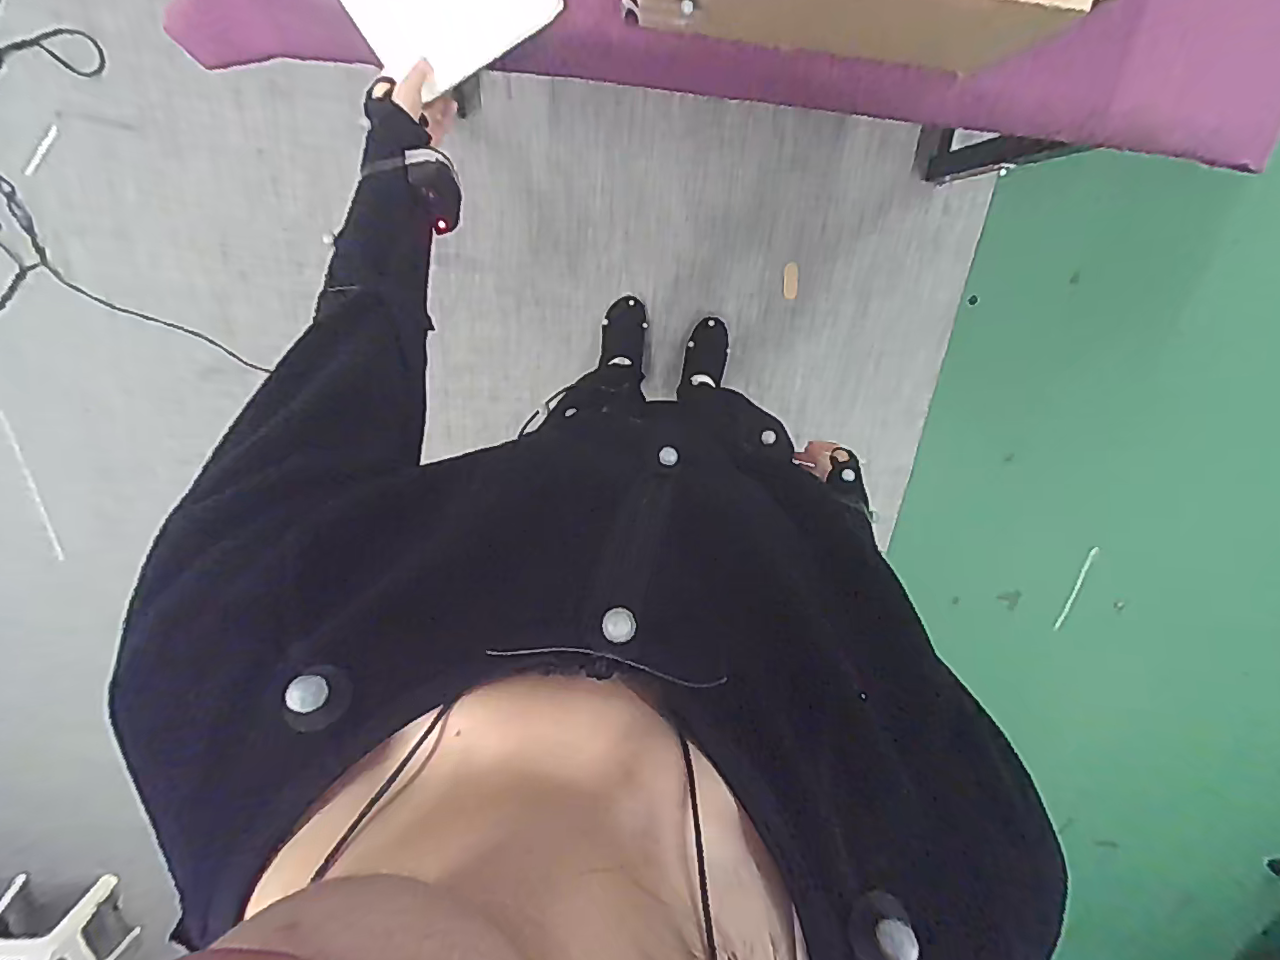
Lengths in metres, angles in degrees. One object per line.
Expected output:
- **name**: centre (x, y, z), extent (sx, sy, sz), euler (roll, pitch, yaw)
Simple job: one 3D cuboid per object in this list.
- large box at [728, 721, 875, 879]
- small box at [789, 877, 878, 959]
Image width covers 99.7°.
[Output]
- **large box**: centre (0.543, 1.089, 1.864), extent (0.408, 0.320, 0.320), euler (-10, 113, 1)
- **small box**: centre (0.522, 1.222, 1.476), extent (0.179, 0.176, 0.168), euler (-3, 112, 0)
